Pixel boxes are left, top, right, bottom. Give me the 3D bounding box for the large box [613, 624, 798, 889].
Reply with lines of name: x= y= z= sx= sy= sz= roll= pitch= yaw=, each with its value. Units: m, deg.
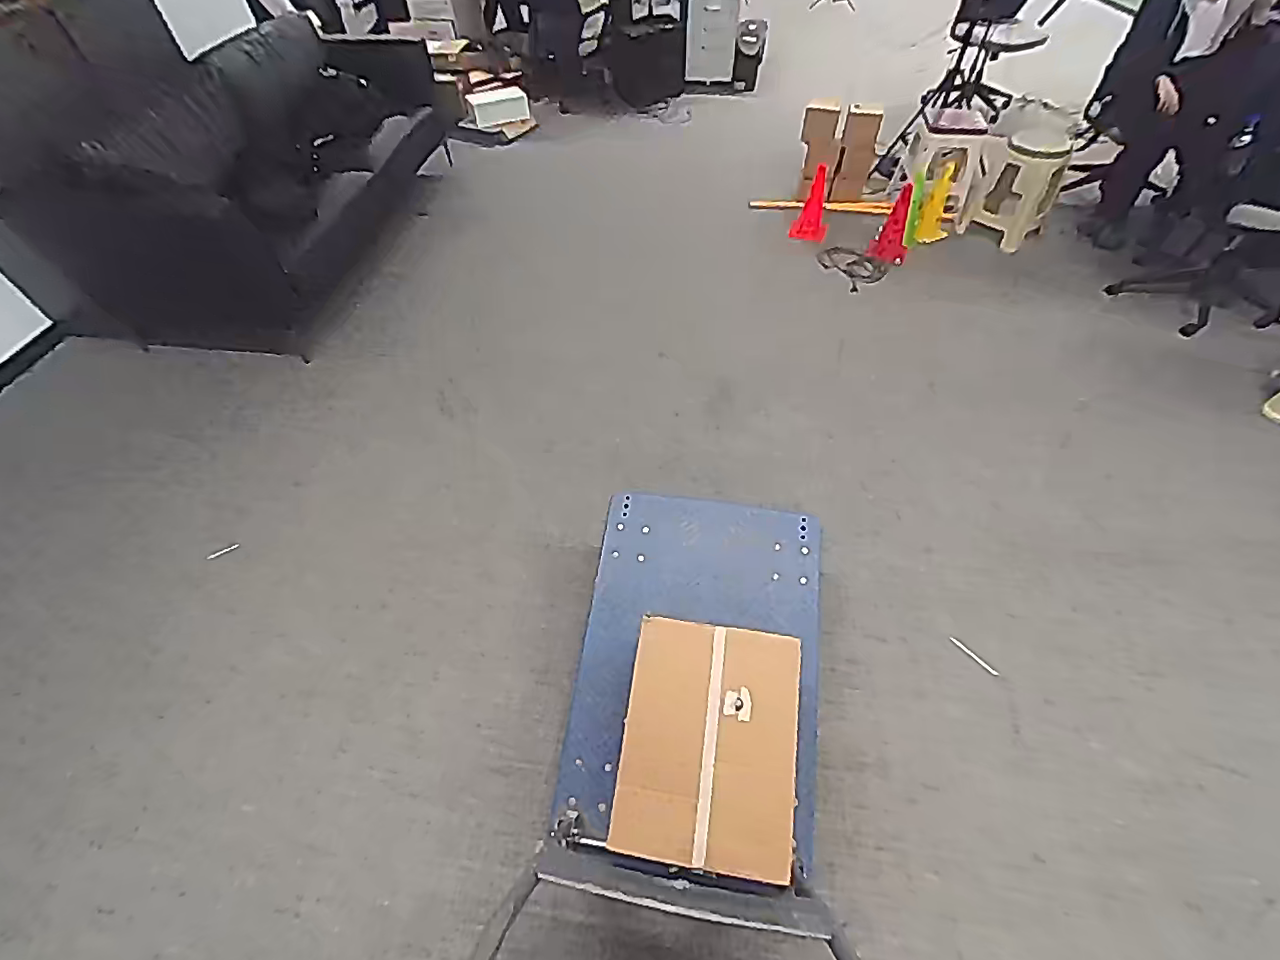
large box: x=0.139 y=0.547 z=1.123 sx=0.320 sy=0.320 sz=0.408 roll=7 pitch=66 yaw=6
